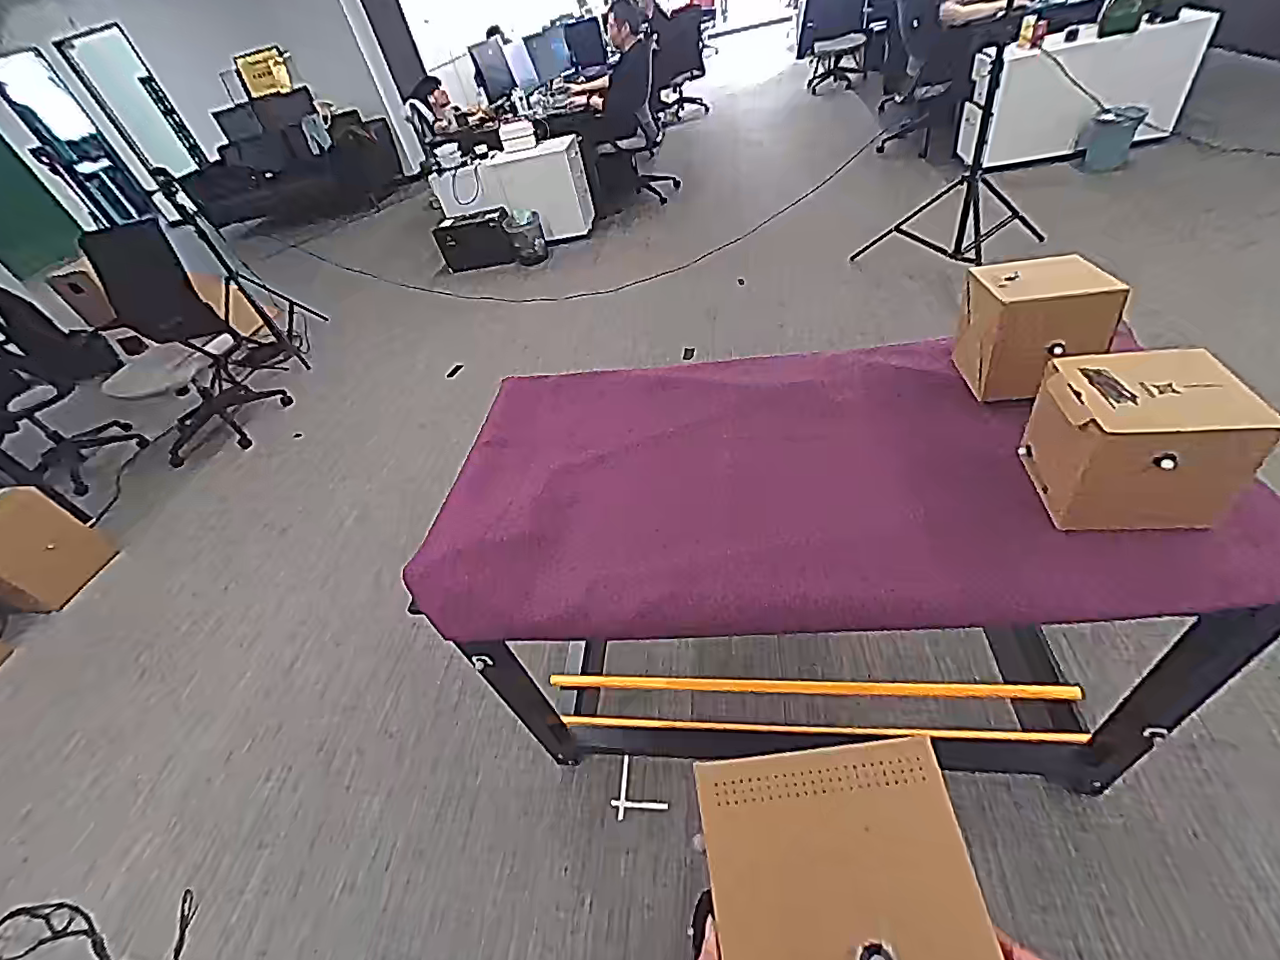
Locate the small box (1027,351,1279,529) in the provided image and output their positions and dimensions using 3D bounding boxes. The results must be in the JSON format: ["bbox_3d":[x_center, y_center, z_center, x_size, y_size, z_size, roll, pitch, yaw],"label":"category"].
[{"bbox_3d":[0.641,-0.048,0.709,0.179,0.176,0.168,-2,43,14],"label":"small box"}]
